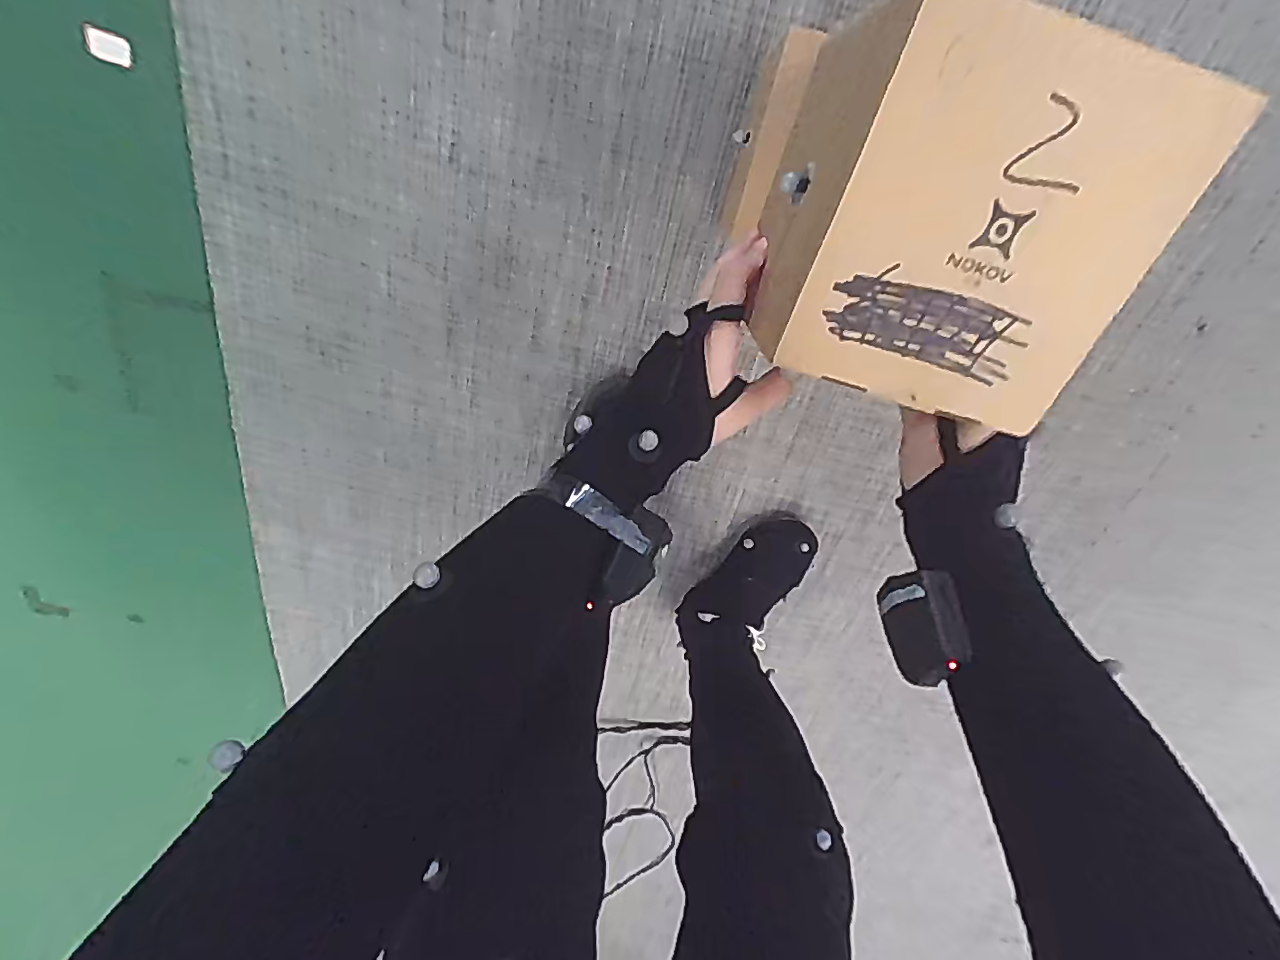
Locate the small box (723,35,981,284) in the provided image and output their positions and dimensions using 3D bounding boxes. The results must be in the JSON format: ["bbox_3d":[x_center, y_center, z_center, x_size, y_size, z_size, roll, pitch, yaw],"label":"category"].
[{"bbox_3d":[0.191,-0.317,0.557,0.179,0.176,0.168,13,120,-3],"label":"small box"}]
